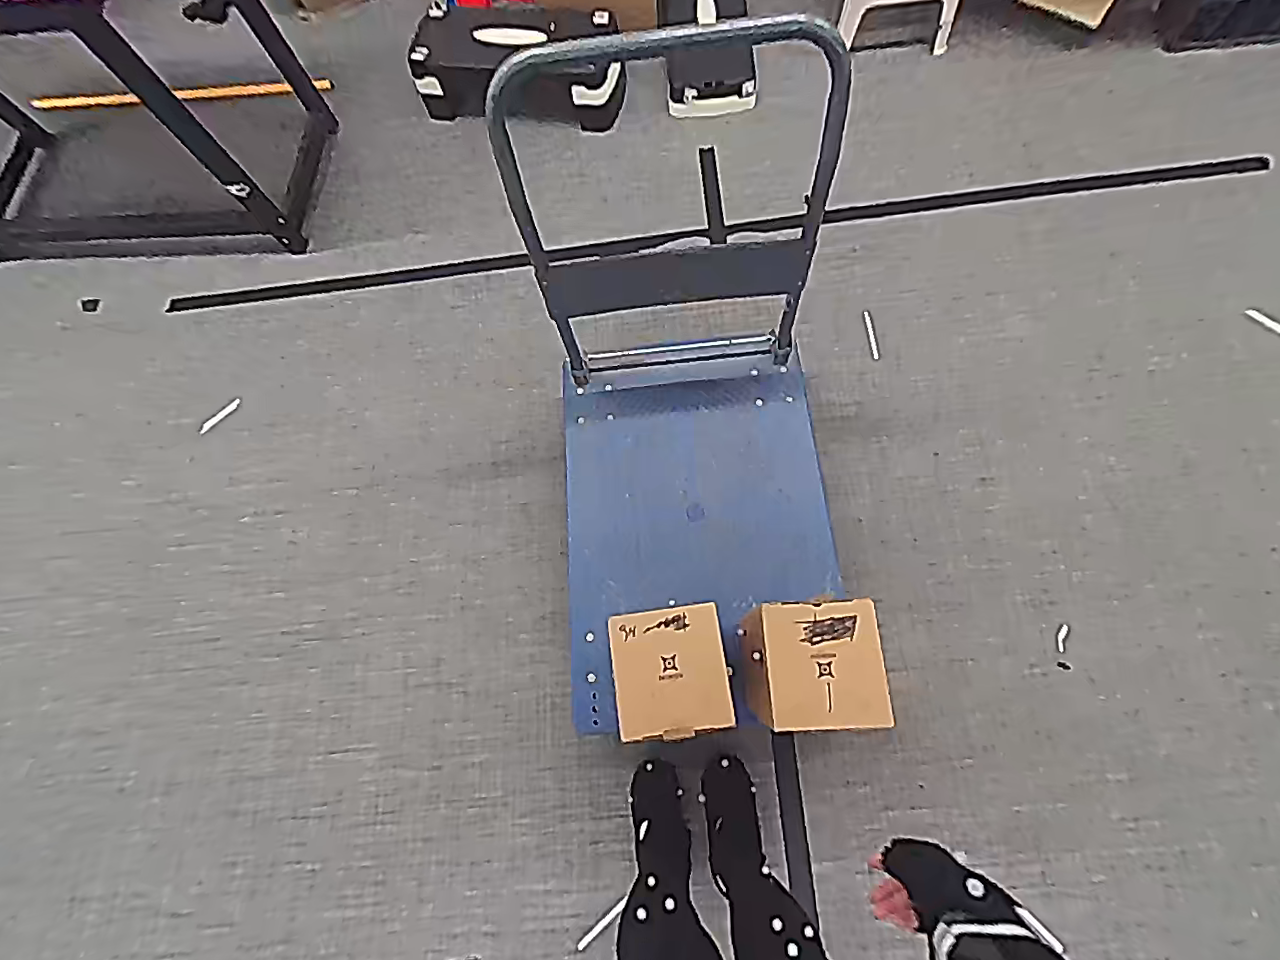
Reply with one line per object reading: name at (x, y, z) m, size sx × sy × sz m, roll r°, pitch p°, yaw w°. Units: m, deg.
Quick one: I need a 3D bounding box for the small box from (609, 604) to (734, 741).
small box at (0.050, 0.299, 0.862) m, size 0.168 × 0.176 × 0.179 m, roll -8°, pitch 72°, yaw 1°

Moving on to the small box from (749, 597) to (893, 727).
small box at (0.270, 0.283, 0.849) m, size 0.168 × 0.176 × 0.179 m, roll -3°, pitch 72°, yaw 3°
